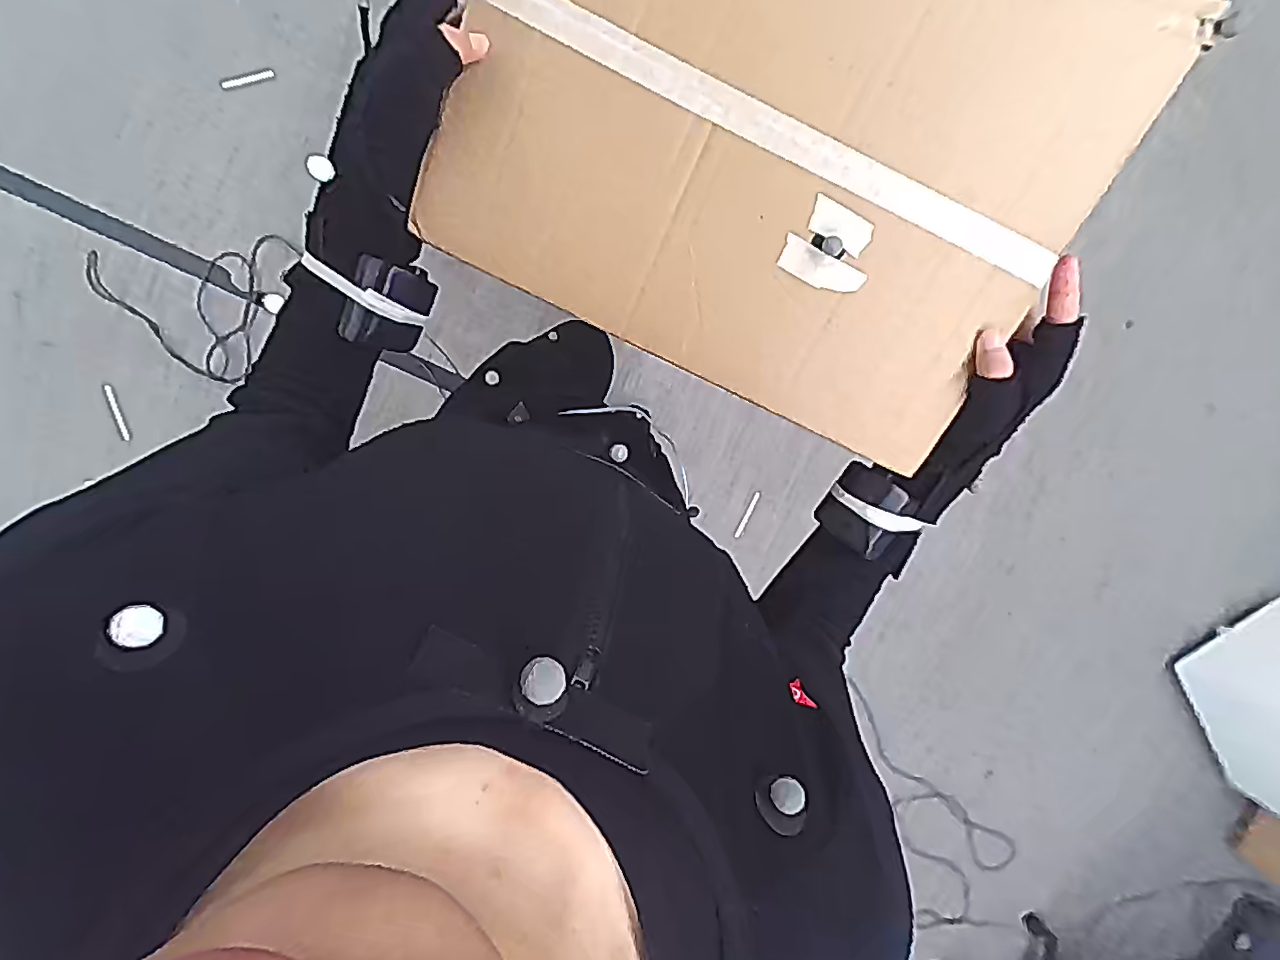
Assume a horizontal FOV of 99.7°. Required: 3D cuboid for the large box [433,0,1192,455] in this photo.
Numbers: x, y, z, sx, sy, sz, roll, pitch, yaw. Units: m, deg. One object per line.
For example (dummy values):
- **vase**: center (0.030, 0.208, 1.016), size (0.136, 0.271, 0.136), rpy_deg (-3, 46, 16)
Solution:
- **large box**: center (0.099, -0.274, 0.496), size (0.408, 0.320, 0.320), rpy_deg (25, 109, -4)
